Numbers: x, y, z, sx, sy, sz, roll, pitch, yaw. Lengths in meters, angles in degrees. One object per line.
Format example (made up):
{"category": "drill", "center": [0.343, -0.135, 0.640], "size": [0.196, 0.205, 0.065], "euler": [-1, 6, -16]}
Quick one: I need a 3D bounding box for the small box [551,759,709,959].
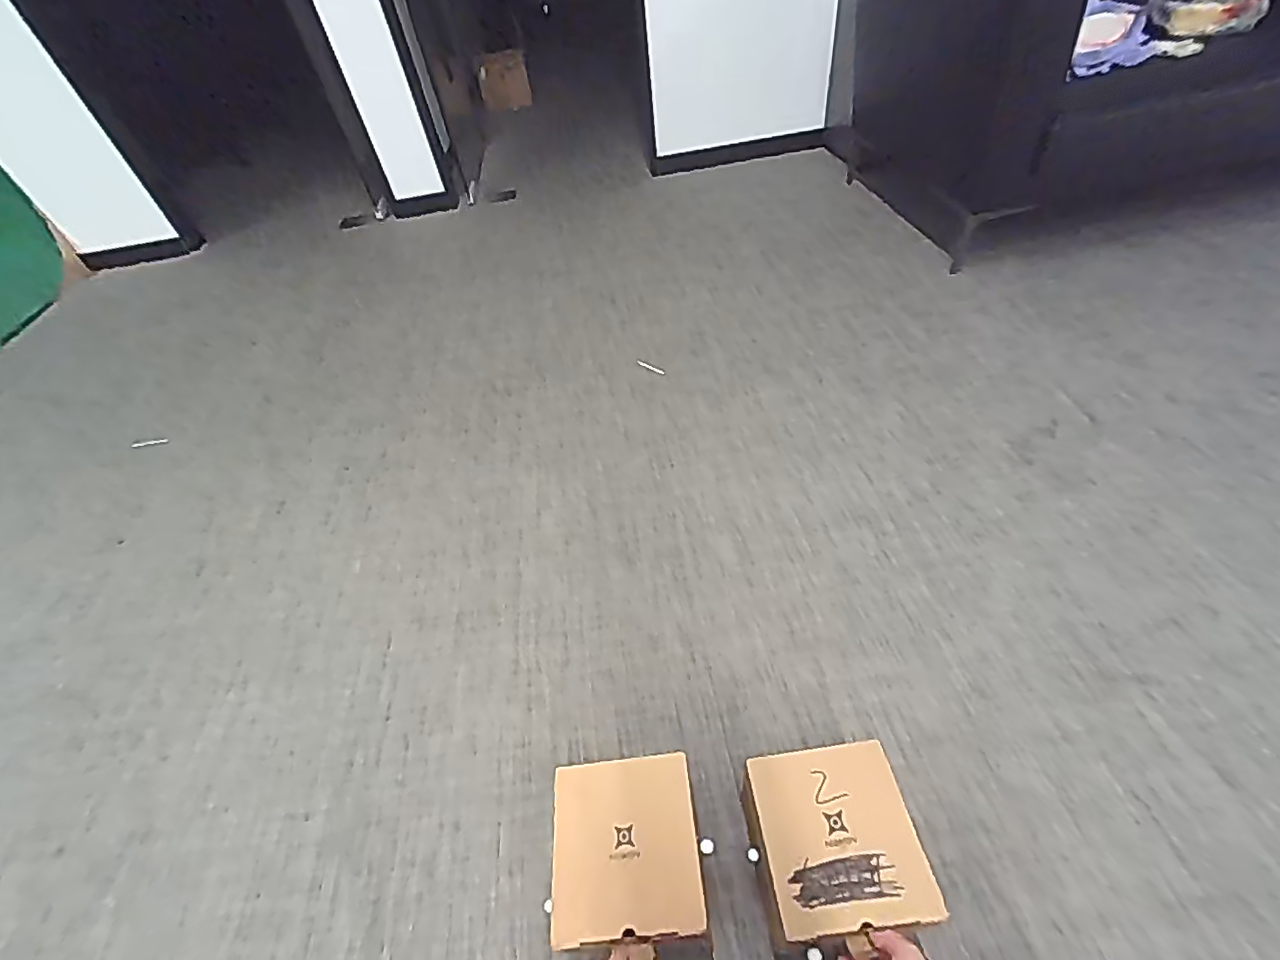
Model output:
{"category": "small box", "center": [-0.009, 0.473, 0.673], "size": [0.168, 0.176, 0.179], "euler": [-8, 47, 2]}
